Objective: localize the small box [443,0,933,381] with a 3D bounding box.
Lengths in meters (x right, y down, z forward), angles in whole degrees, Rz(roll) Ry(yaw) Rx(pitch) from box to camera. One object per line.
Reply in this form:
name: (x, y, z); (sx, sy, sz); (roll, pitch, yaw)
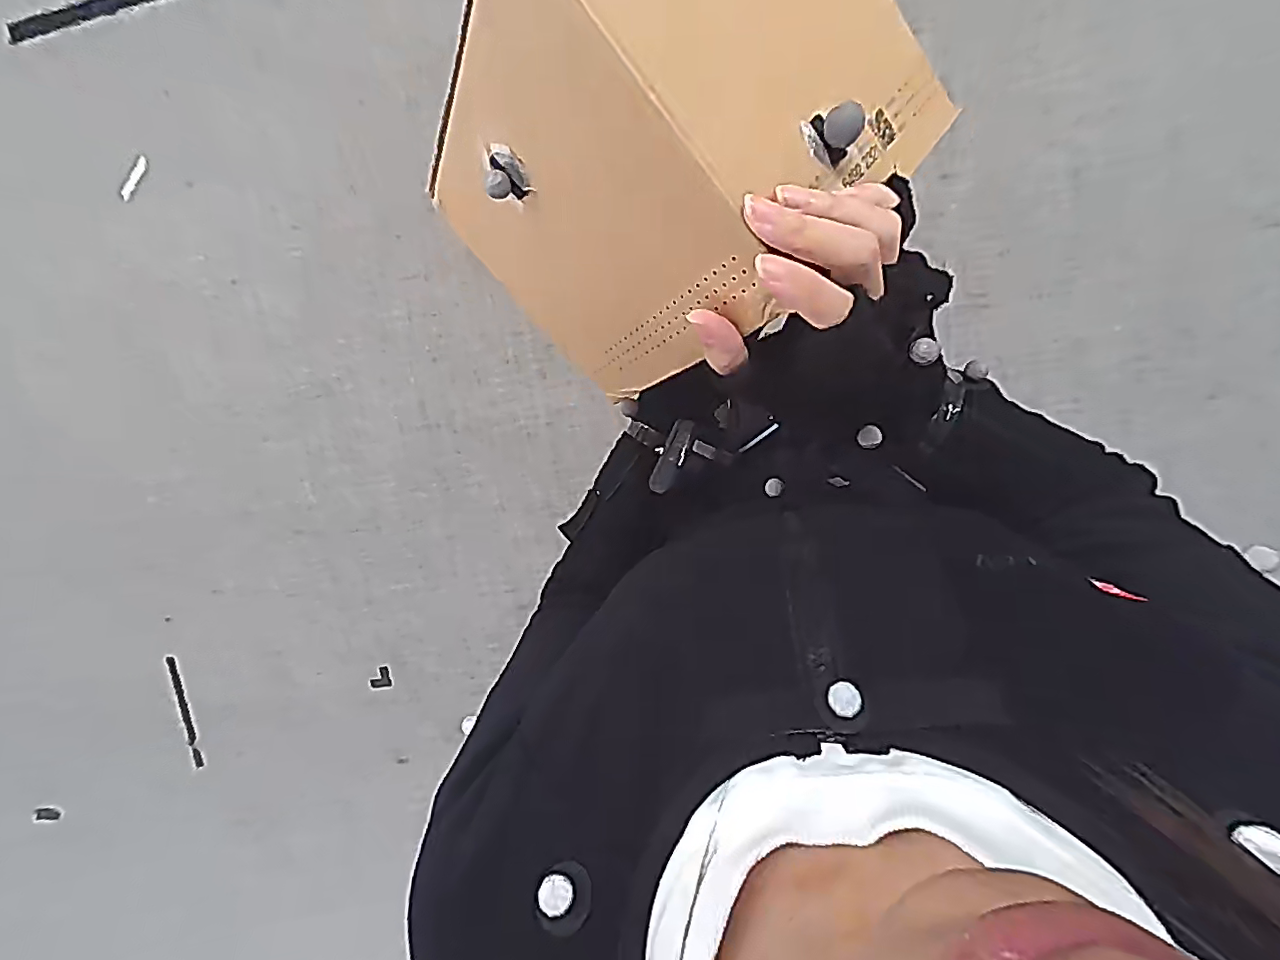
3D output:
small box: (0.020, -0.181, 0.308); (0.176, 0.179, 0.168); (46, 66, -16)
